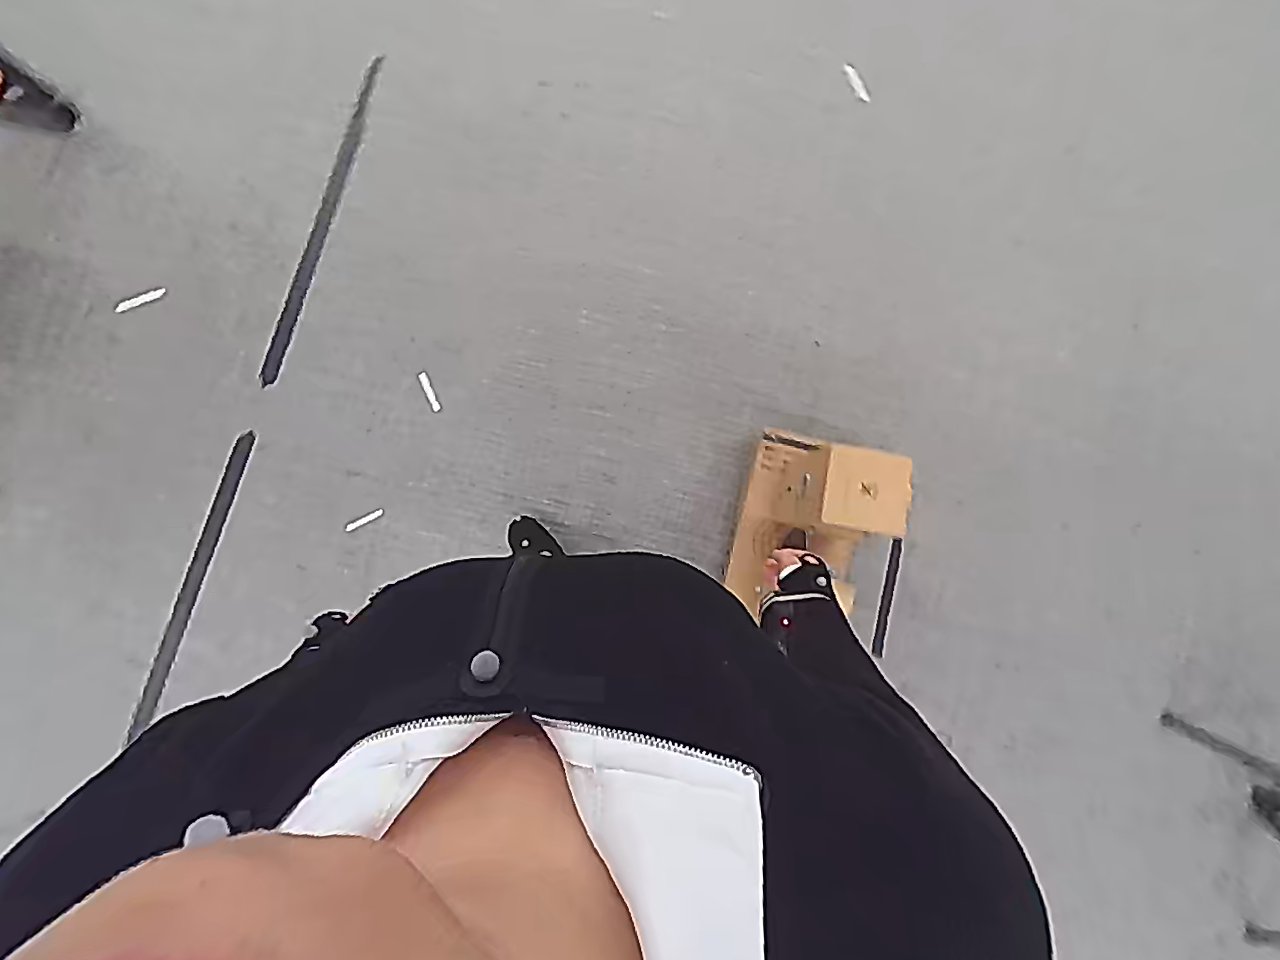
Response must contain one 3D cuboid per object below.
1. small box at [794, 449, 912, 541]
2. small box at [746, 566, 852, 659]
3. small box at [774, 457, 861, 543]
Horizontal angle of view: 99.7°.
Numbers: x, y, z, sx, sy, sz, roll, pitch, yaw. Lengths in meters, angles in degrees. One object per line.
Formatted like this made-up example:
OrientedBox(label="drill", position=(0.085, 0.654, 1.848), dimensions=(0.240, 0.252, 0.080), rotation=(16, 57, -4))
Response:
OrientedBox(label="small box", position=(0.457, 0.035, 1.181), dimensions=(0.179, 0.176, 0.168), rotation=(10, 84, -1))
OrientedBox(label="small box", position=(0.380, 0.312, 1.318), dimensions=(0.179, 0.176, 0.168), rotation=(19, 83, 0))
OrientedBox(label="small box", position=(0.451, 0.054, 1.344), dimensions=(0.179, 0.176, 0.168), rotation=(17, 85, 0))
